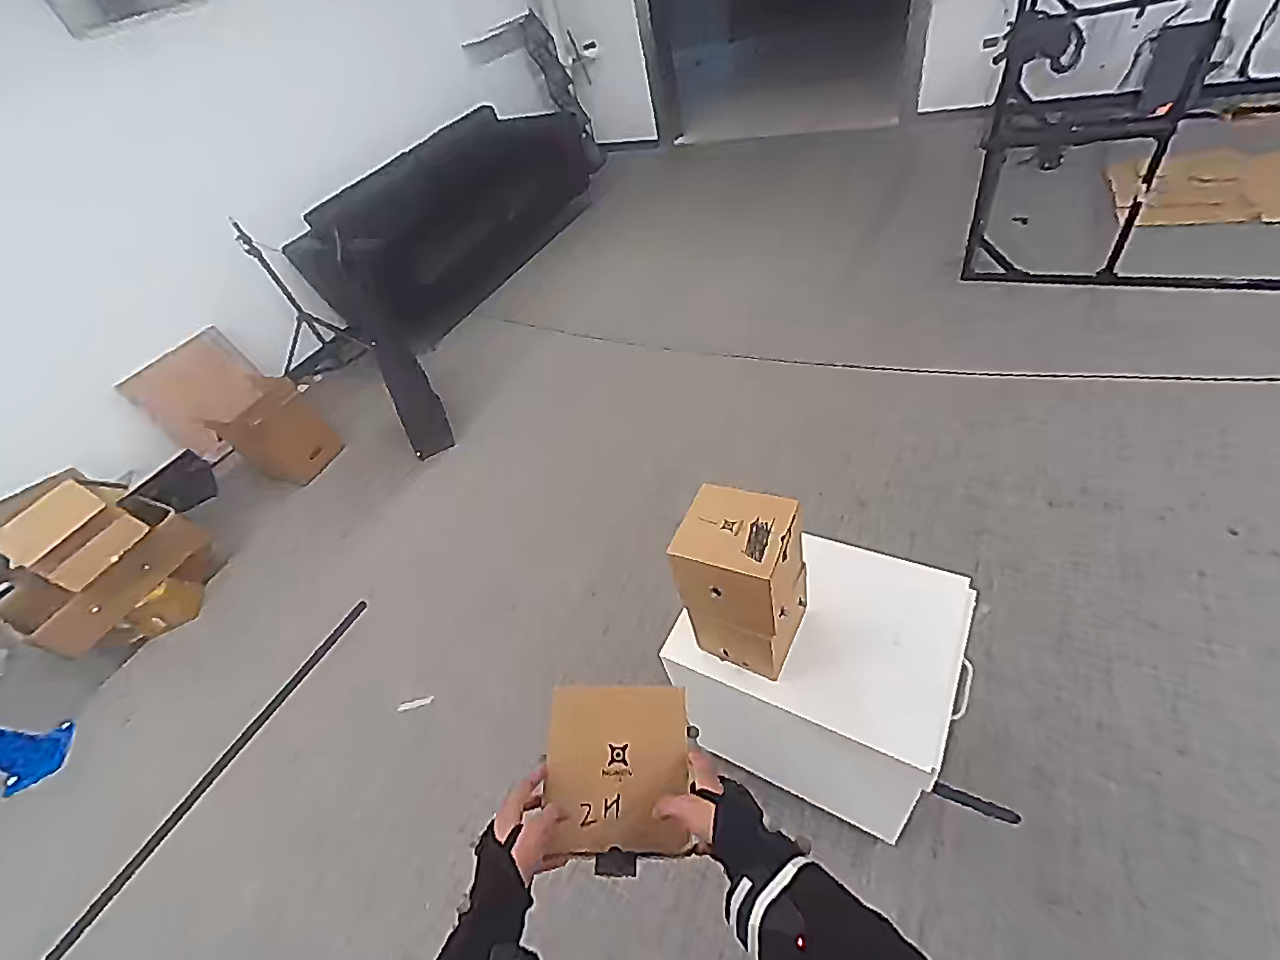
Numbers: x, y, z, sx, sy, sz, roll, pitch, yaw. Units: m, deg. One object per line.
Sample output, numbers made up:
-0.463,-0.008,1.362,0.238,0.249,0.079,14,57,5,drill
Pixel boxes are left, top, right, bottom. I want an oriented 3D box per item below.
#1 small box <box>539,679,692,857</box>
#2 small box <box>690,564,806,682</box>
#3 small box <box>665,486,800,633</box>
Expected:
-0.025,0.364,0.681,0.168,0.176,0.179,0,54,1,small box
0.210,0.251,1.042,0.168,0.176,0.179,16,53,30,small box
0.169,0.138,0.930,0.179,0.176,0.168,11,50,28,small box
